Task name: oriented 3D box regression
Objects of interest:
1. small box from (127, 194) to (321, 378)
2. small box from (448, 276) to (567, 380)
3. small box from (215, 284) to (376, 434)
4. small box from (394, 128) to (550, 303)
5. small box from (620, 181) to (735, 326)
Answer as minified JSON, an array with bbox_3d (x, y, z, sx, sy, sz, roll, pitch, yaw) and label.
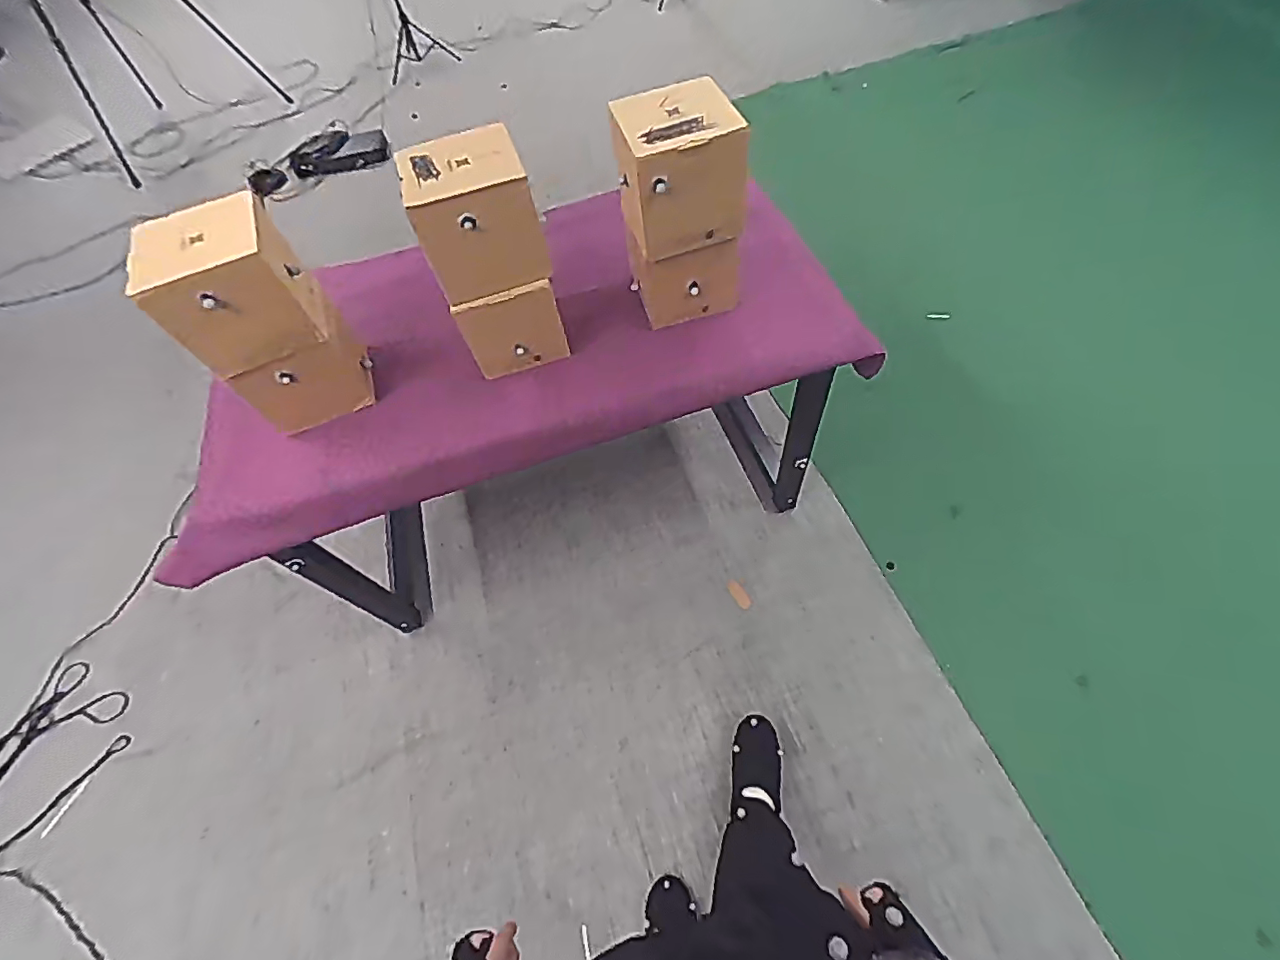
[{"bbox_3d":[-0.613,-0.289,0.820,0.179,0.176,0.168,-24,61,-7],"label":"small box"},{"bbox_3d":[-0.241,-0.314,0.981,0.168,0.176,0.179,-17,59,-3],"label":"small box"},{"bbox_3d":[-0.604,-0.208,0.960,0.179,0.176,0.168,-22,60,-7],"label":"small box"},{"bbox_3d":[-0.257,-0.407,0.846,0.179,0.176,0.168,-19,58,-6],"label":"small box"},{"bbox_3d":[0.070,-0.409,1.001,0.168,0.176,0.179,-15,59,-2],"label":"small box"}]
